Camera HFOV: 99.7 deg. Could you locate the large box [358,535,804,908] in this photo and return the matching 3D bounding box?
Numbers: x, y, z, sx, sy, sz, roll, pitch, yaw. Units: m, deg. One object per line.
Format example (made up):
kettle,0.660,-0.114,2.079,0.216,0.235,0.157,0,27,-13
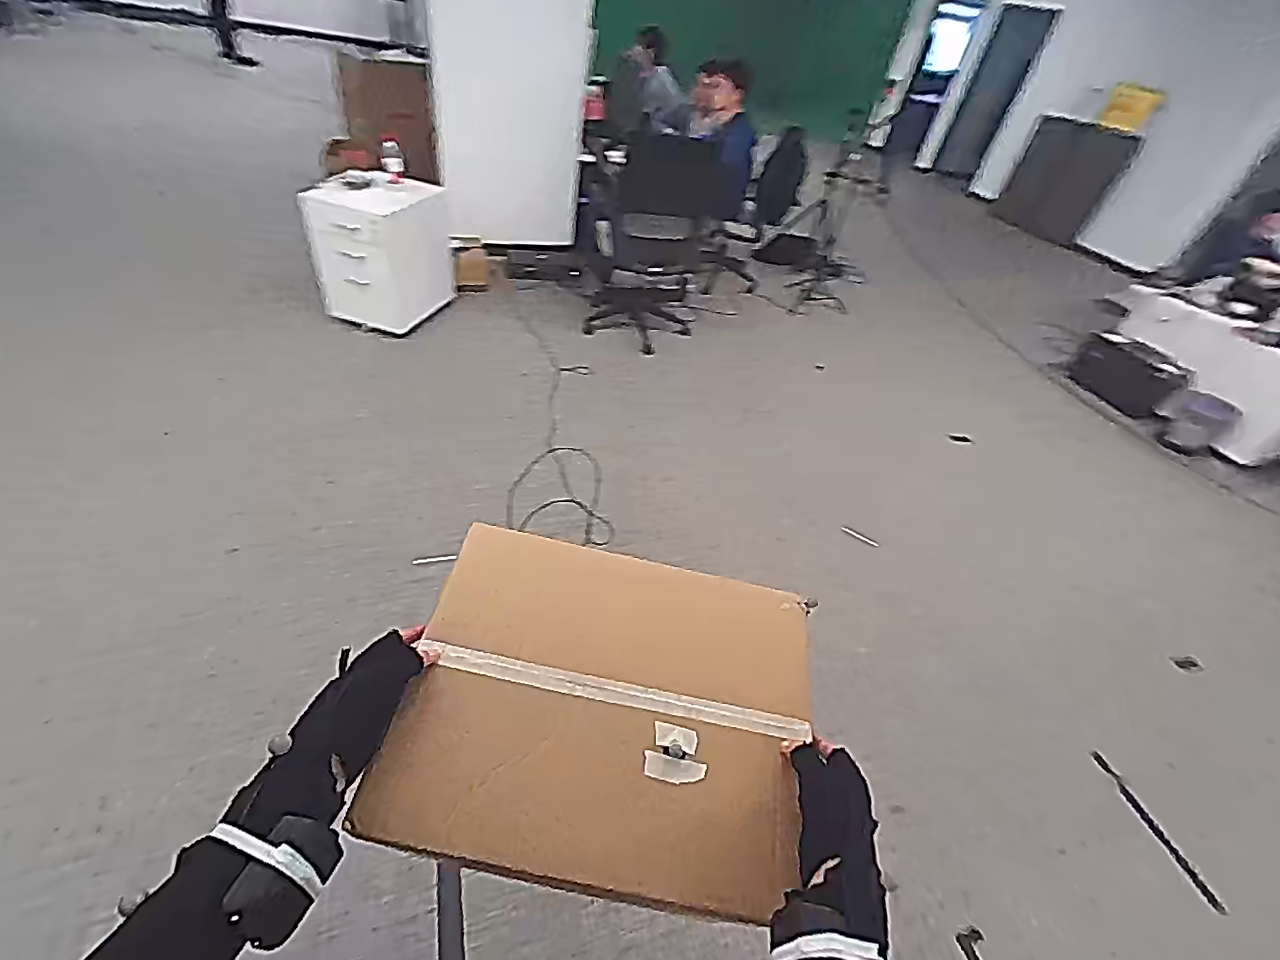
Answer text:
large box,-0.054,0.309,0.674,0.408,0.320,0.320,12,52,-2
